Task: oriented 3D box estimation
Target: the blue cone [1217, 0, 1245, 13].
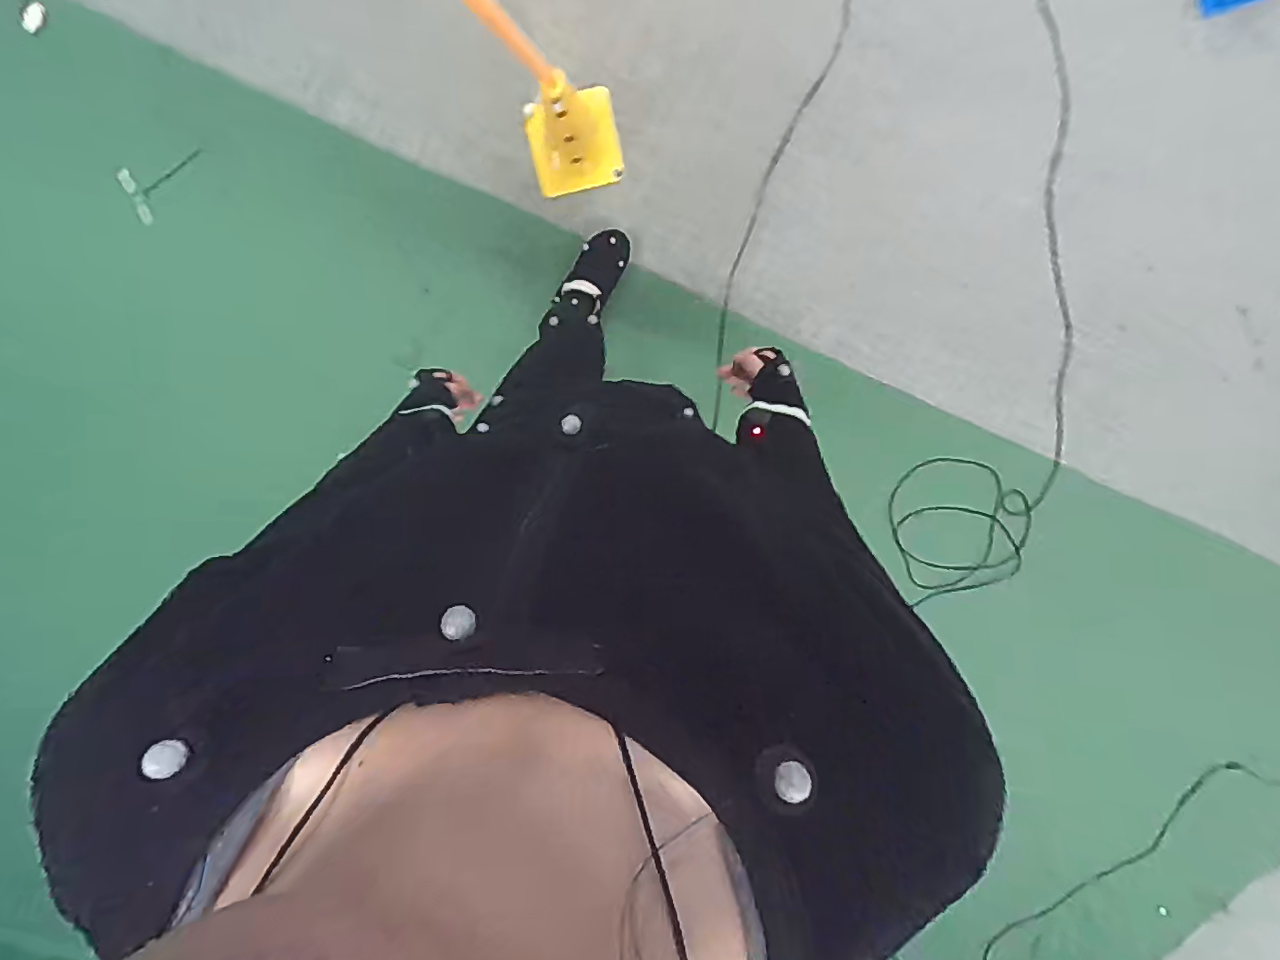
[{"bbox_3d":[1.323,-1.087,0.992,0.193,0.380,0.192,-21,106,4],"label":"blue cone"}]
